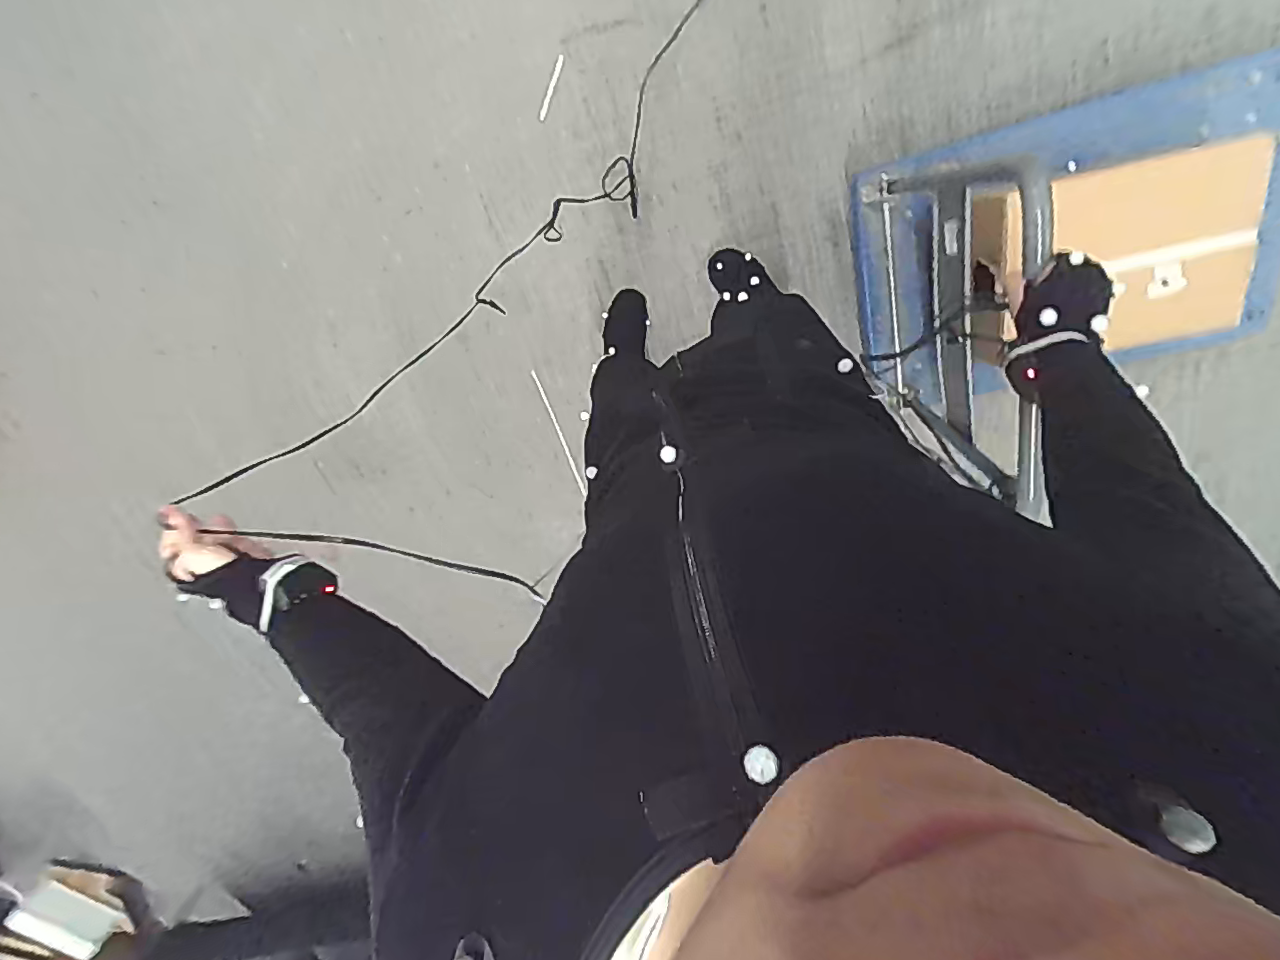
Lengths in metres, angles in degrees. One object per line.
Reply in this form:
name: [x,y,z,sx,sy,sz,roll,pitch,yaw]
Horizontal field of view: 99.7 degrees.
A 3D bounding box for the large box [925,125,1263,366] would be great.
large box: [0.842,-0.450,1.080,0.408,0.320,0.320,-11,114,8]
